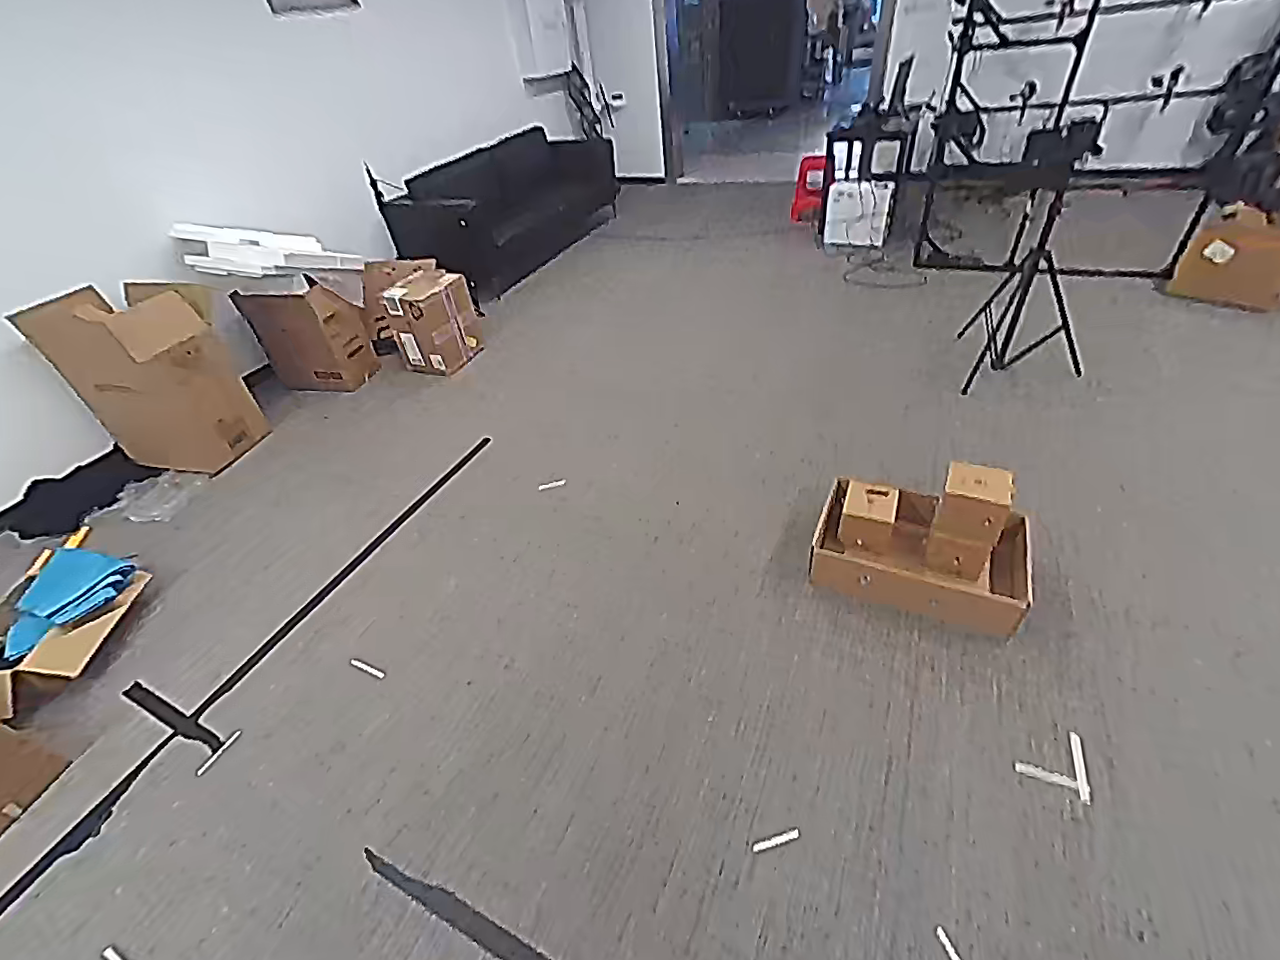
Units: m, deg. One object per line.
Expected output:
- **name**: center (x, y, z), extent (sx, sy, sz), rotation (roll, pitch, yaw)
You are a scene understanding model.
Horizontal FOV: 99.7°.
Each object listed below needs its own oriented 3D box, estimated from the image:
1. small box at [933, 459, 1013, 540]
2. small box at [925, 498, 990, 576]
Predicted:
- **small box**: center (1.038, 0.063, 1.687), extent (0.179, 0.176, 0.168), rotation (13, 43, 27)
- **small box**: center (1.054, 0.190, 1.791), extent (0.168, 0.176, 0.179), rotation (12, 46, 27)
